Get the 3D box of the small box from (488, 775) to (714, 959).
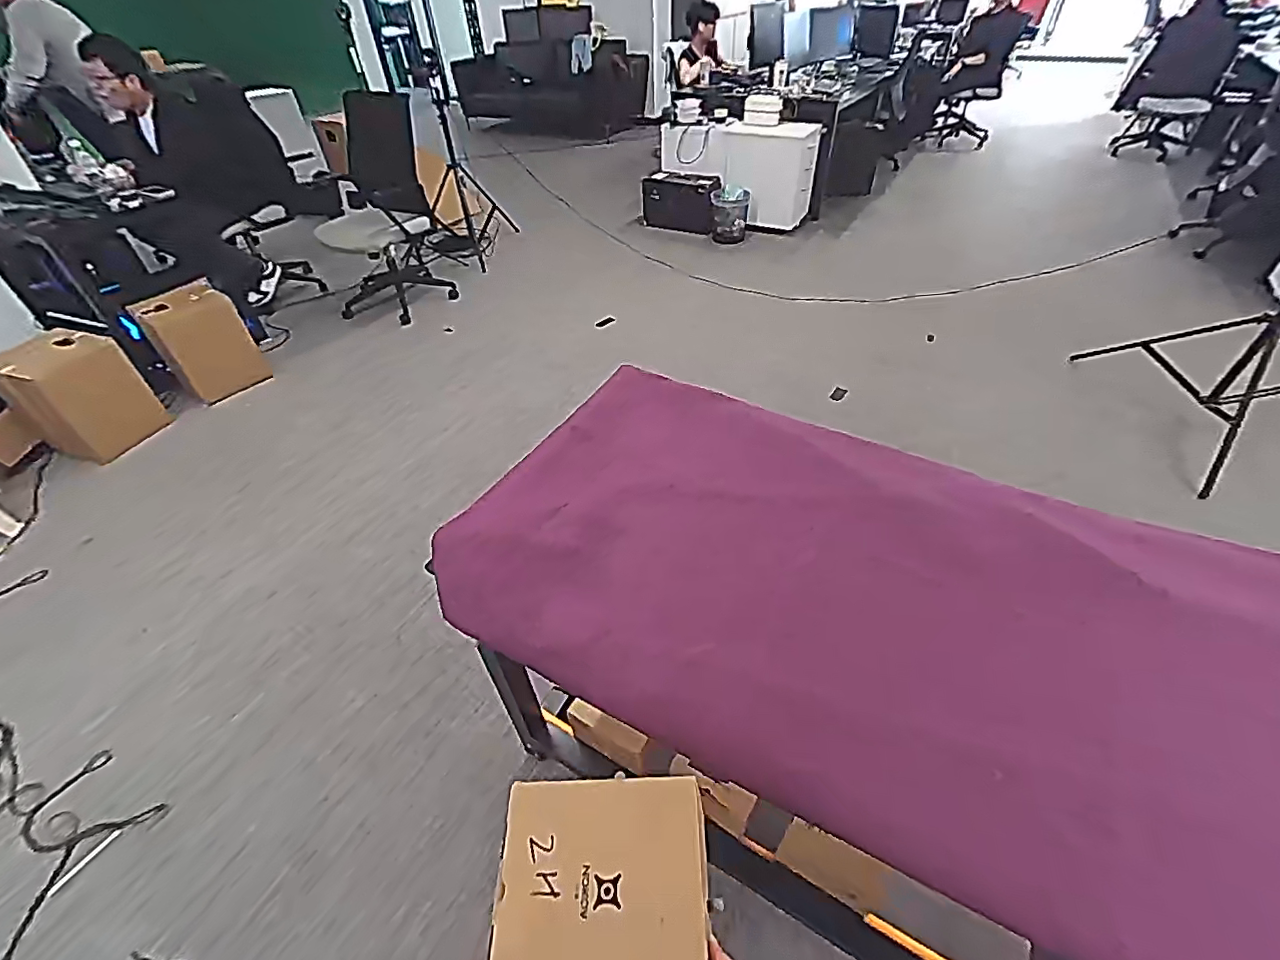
[{"bbox_3d":[-0.023,0.386,0.500,0.179,0.176,0.168,-5,46,5],"label":"small box"}]
